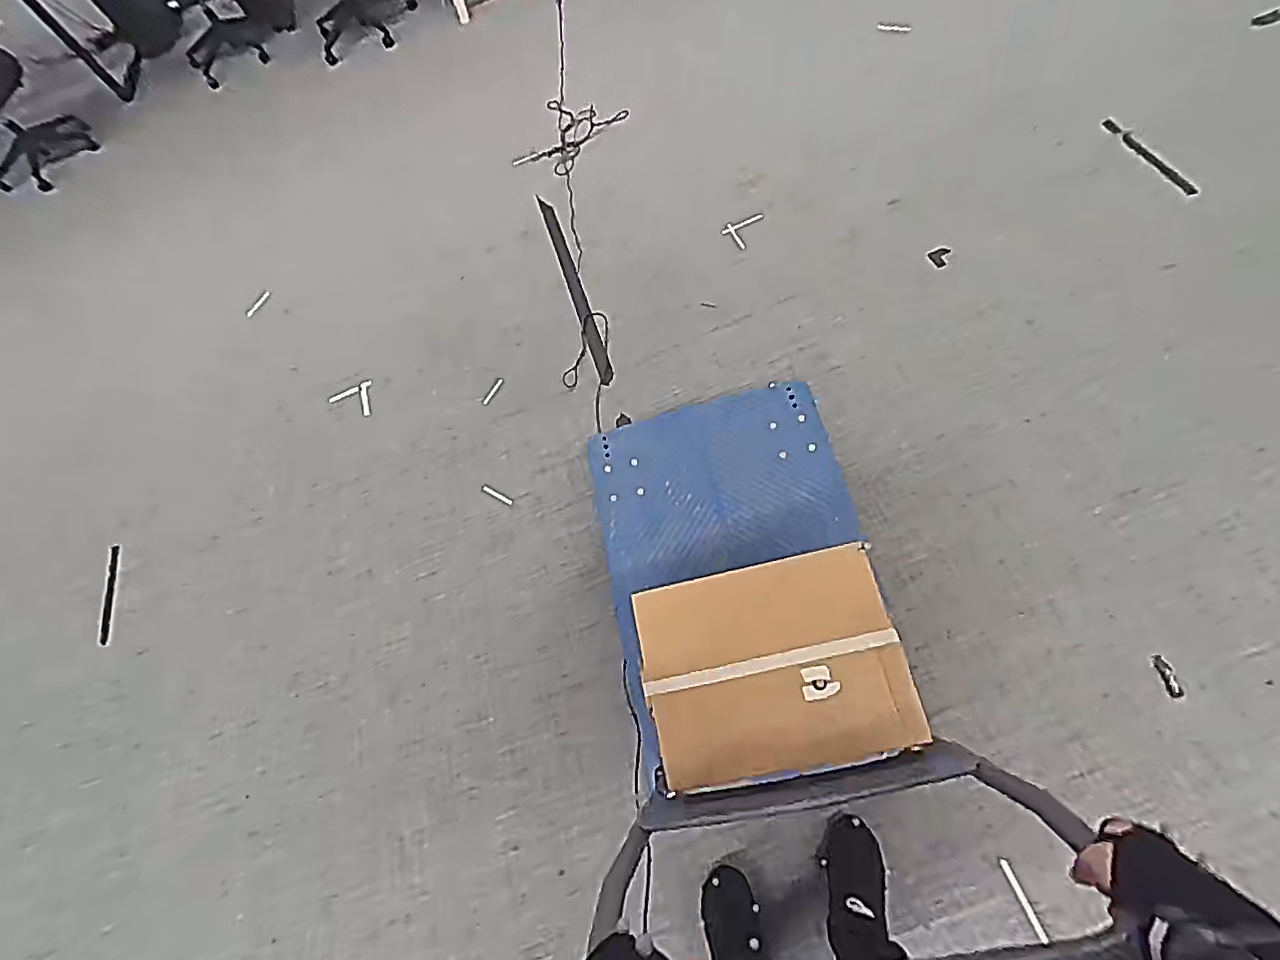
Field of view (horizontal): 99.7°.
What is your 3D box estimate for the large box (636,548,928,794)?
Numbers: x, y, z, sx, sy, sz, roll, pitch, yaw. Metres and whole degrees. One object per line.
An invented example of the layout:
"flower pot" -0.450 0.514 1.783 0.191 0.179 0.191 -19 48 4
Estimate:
"large box" 0.236 0.351 1.014 0.408 0.320 0.320 -14 70 6
